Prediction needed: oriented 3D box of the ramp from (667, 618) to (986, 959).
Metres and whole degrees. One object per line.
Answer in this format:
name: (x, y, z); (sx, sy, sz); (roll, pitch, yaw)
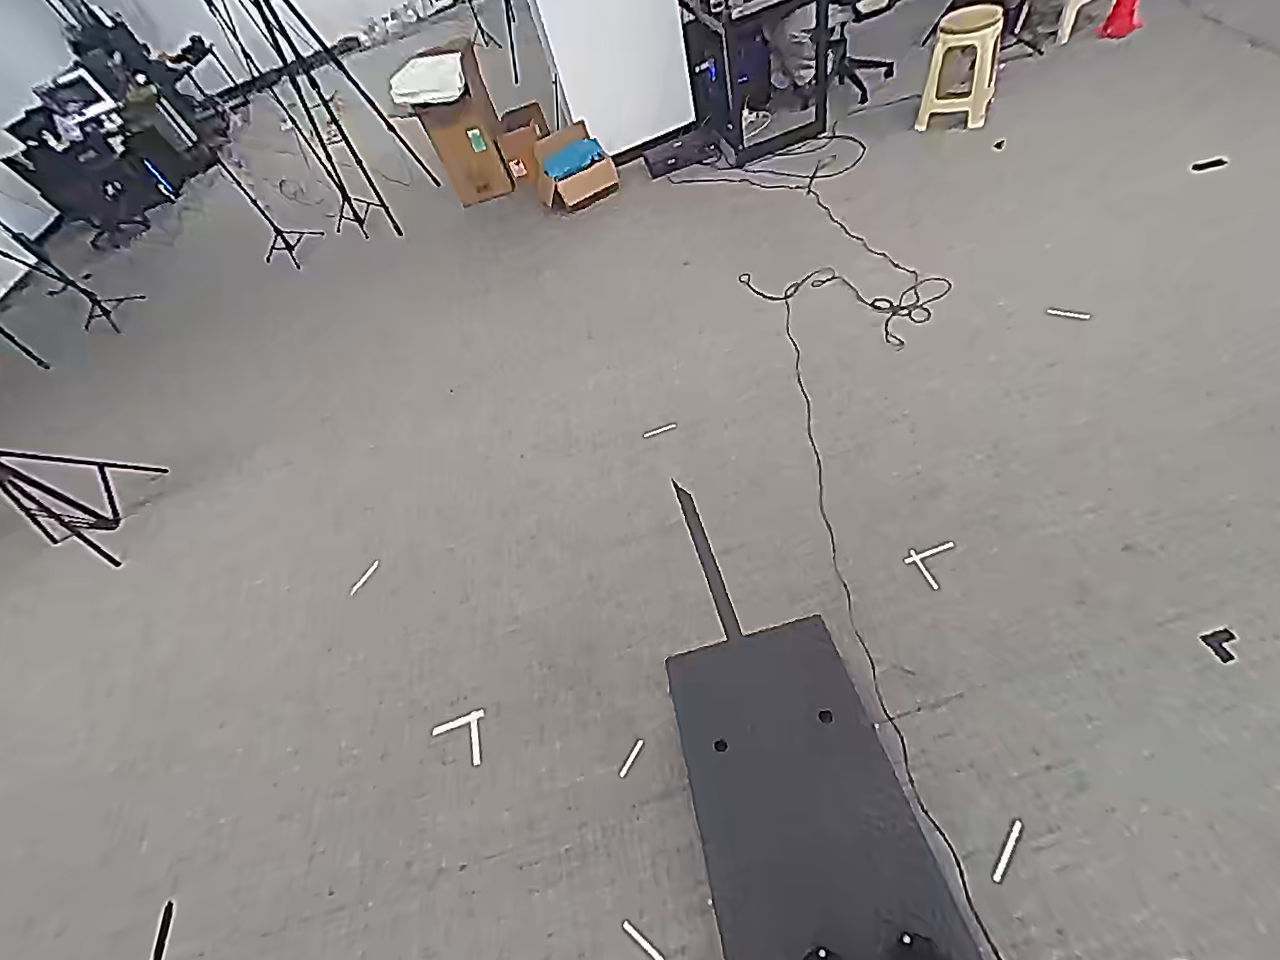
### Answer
ramp: (0.380, 0.802, 1.259); (0.509, 0.206, 0.991); (-20, 50, 4)
